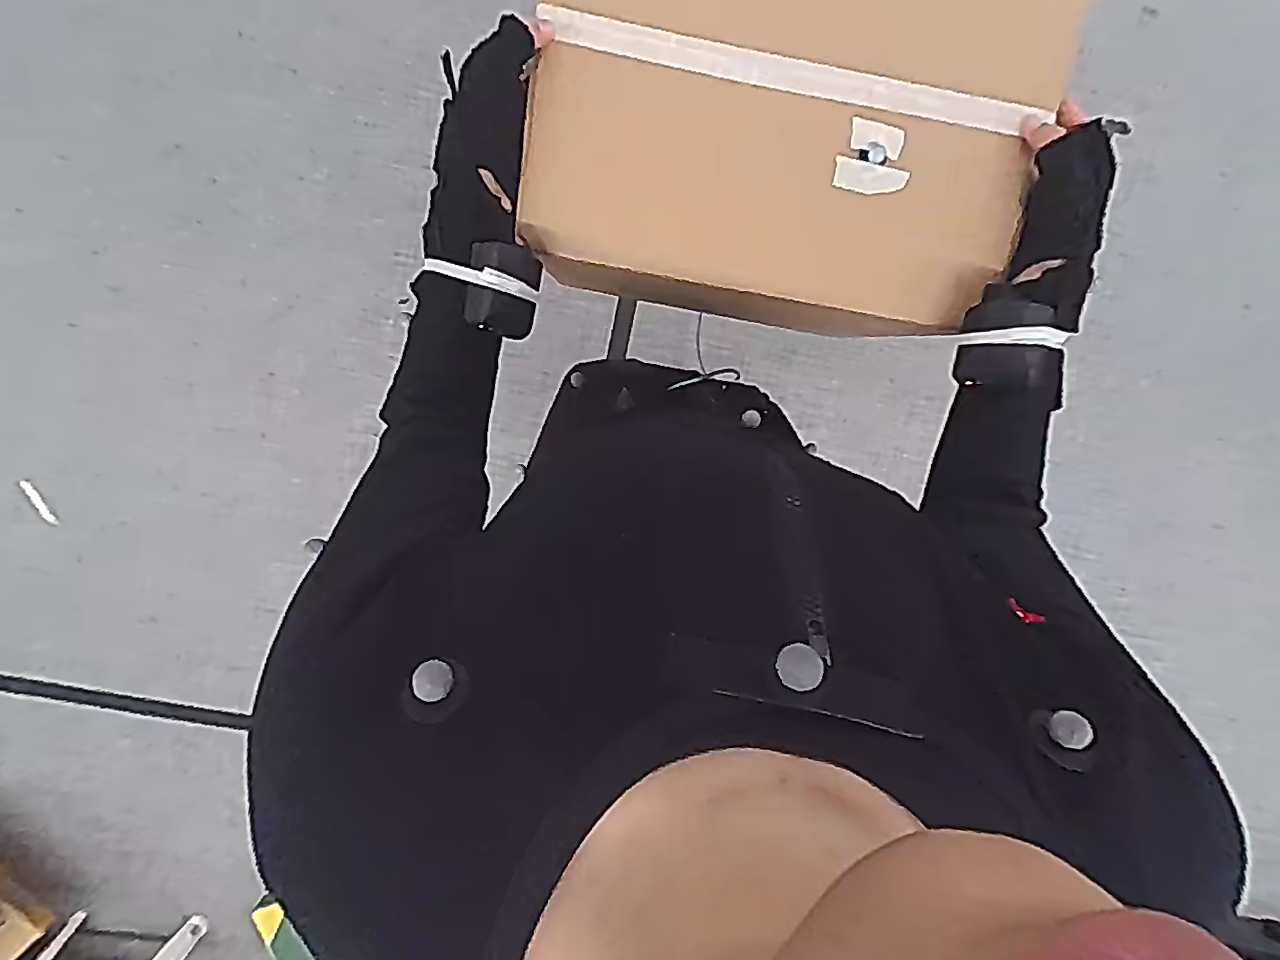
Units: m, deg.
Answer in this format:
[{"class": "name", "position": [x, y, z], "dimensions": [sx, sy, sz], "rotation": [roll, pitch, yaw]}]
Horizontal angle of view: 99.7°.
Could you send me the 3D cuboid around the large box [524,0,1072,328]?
[{"class": "large box", "position": [0.113, -0.348, 0.565], "dimensions": [0.408, 0.320, 0.320], "rotation": [9, 105, -5]}]
